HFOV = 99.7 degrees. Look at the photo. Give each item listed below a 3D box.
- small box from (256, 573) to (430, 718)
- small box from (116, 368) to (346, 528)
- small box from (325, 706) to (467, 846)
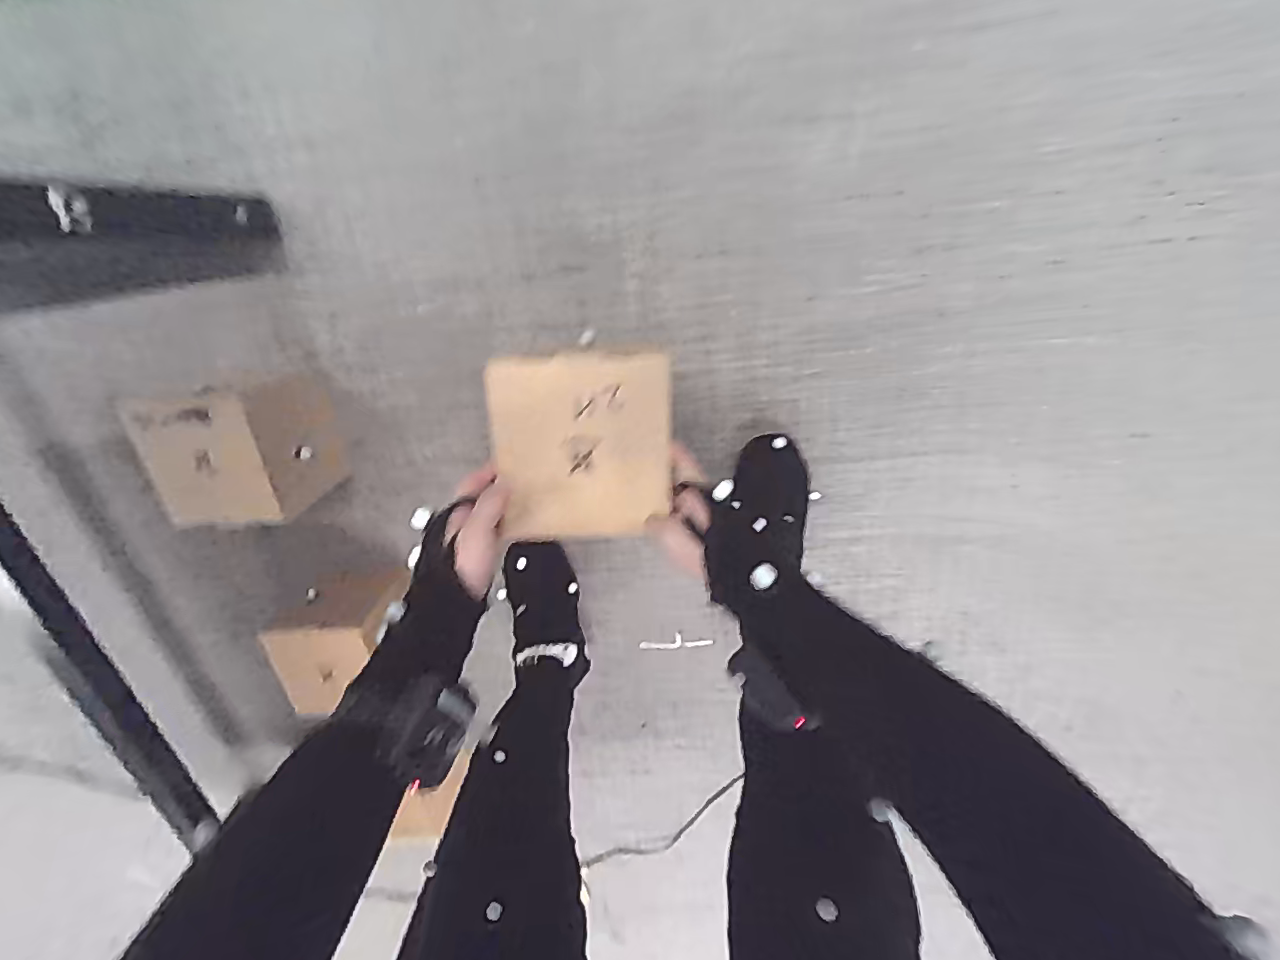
[{"bbox_3d":[-0.480,0.267,0.903,0.168,0.176,0.179,-4,115,6],"label":"small box"},{"bbox_3d":[-0.553,-0.049,0.764,0.168,0.176,0.179,-3,114,4],"label":"small box"},{"bbox_3d":[-0.453,0.563,1.036,0.168,0.176,0.179,-6,113,6],"label":"small box"}]
